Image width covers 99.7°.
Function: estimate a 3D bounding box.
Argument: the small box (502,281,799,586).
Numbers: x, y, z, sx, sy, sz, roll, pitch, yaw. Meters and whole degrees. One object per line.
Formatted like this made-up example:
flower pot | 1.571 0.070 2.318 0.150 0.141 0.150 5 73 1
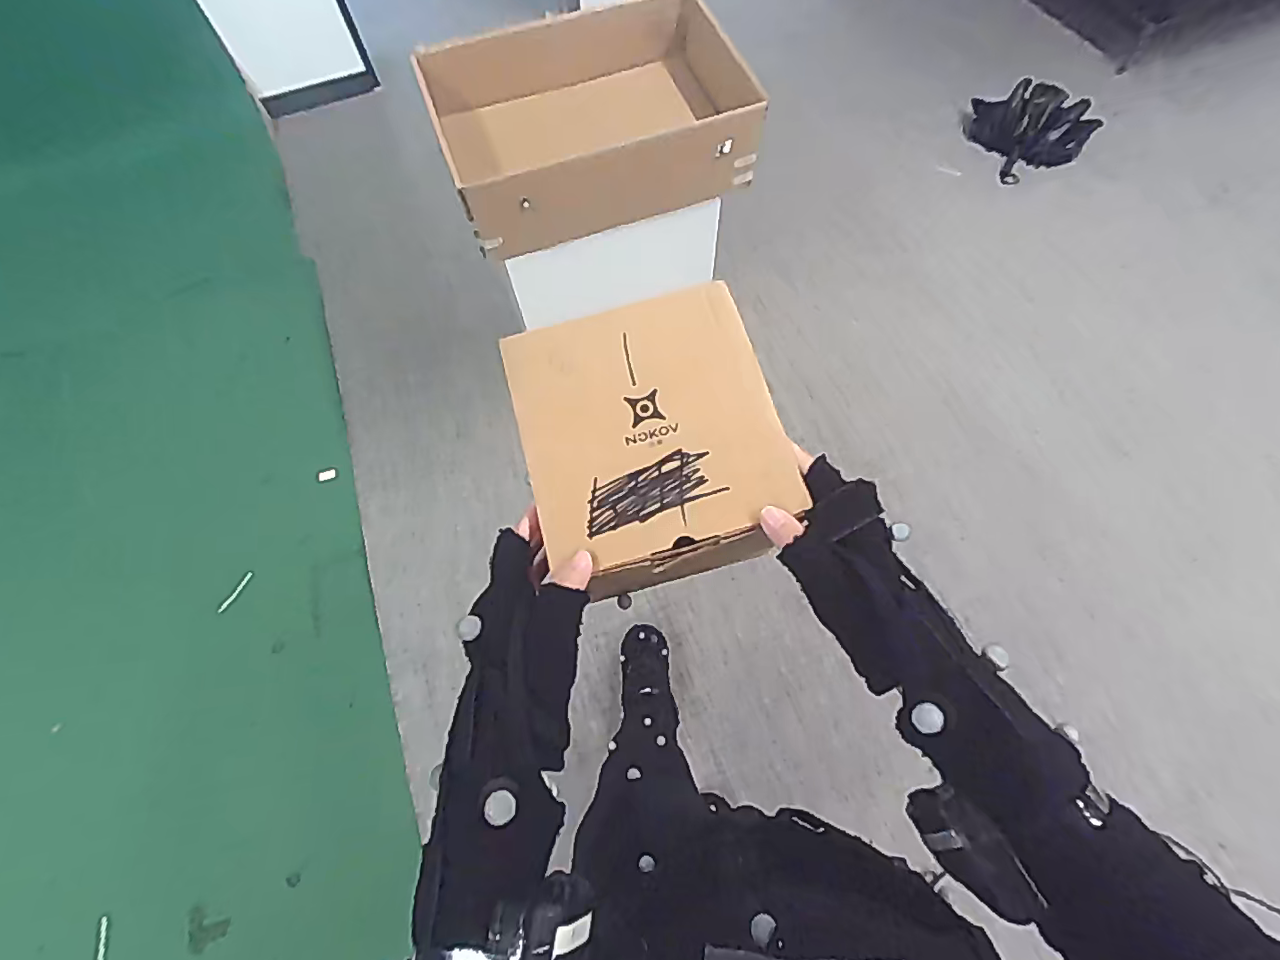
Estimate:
small box | 0.006 -0.019 0.434 0.168 0.176 0.179 -15 73 -2
